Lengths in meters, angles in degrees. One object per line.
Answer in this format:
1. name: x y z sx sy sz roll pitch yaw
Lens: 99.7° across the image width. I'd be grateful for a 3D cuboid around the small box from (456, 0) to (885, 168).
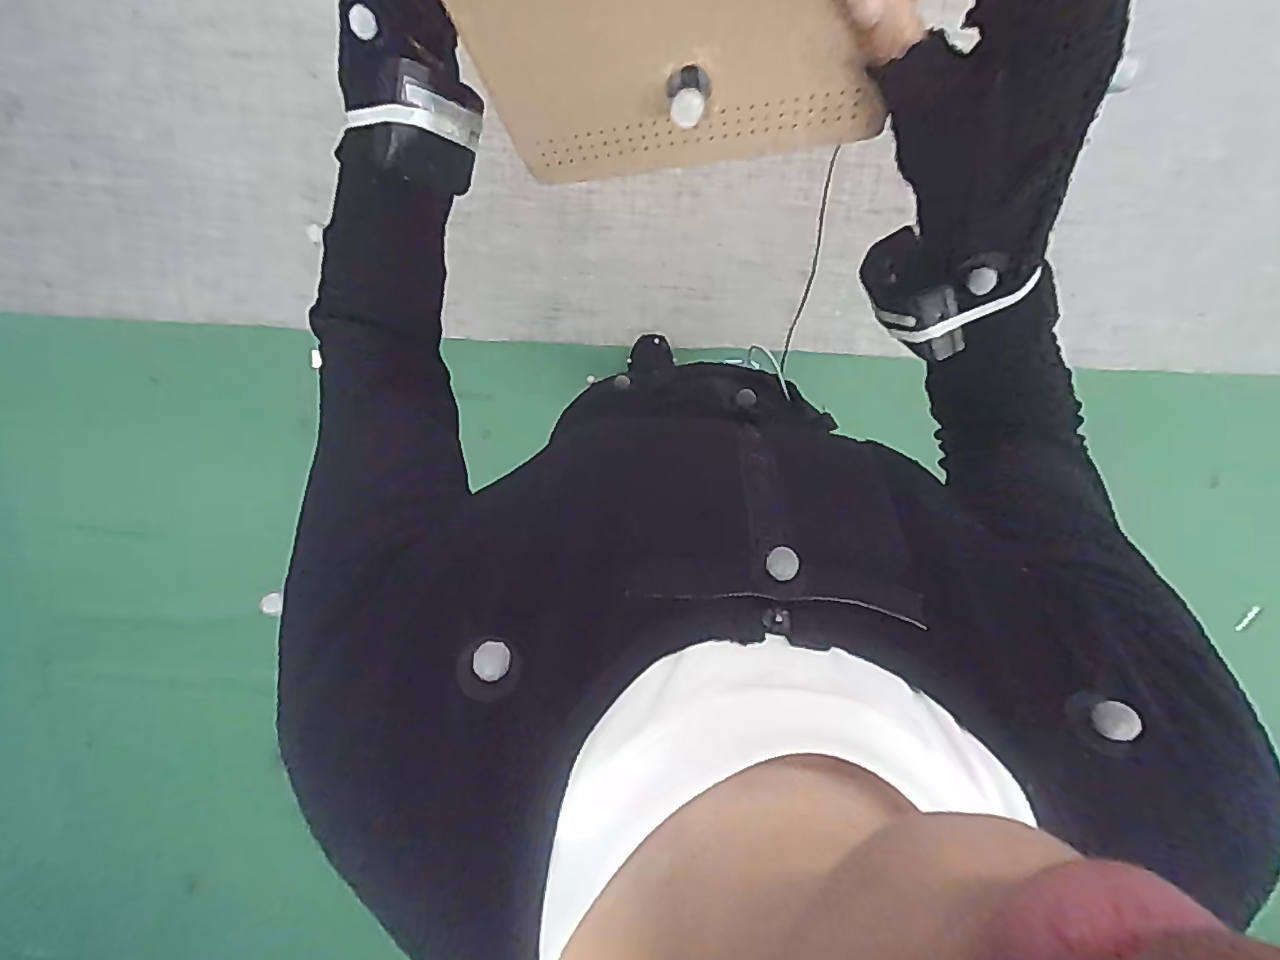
1. small box: 0.013 -0.267 0.224 0.179 0.176 0.168 -2 73 11
